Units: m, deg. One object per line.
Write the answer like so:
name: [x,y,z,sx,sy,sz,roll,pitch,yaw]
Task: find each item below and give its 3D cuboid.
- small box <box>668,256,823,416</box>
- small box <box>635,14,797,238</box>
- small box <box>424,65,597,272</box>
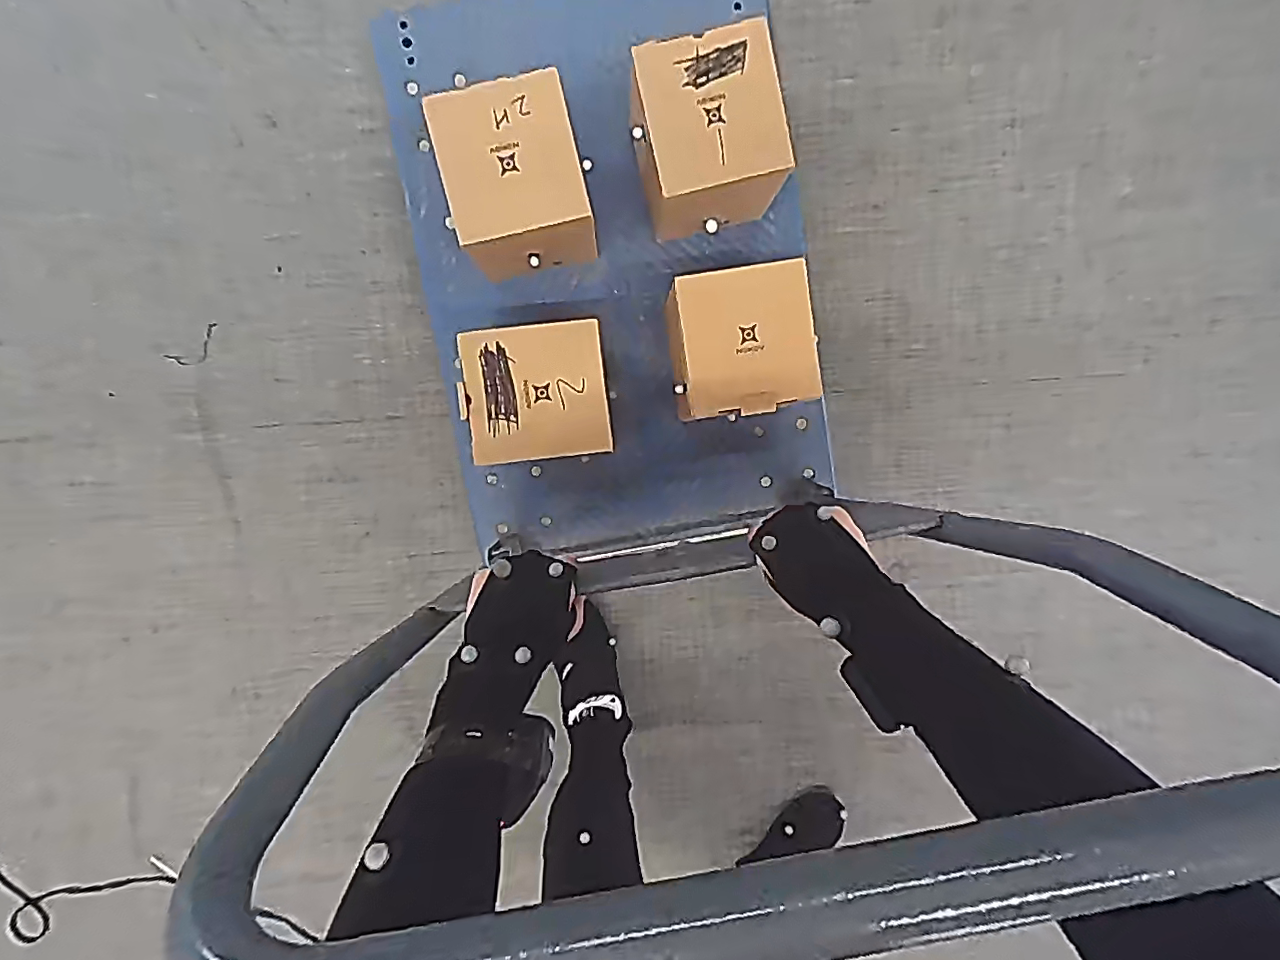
small box: [0.134,-0.186,0.747,0.168,0.176,0.179,-9,96,-1]
small box: [0.089,-0.451,0.717,0.168,0.176,0.179,-13,97,1]
small box: [-0.156,-0.391,0.717,0.168,0.176,0.179,-13,96,-1]
